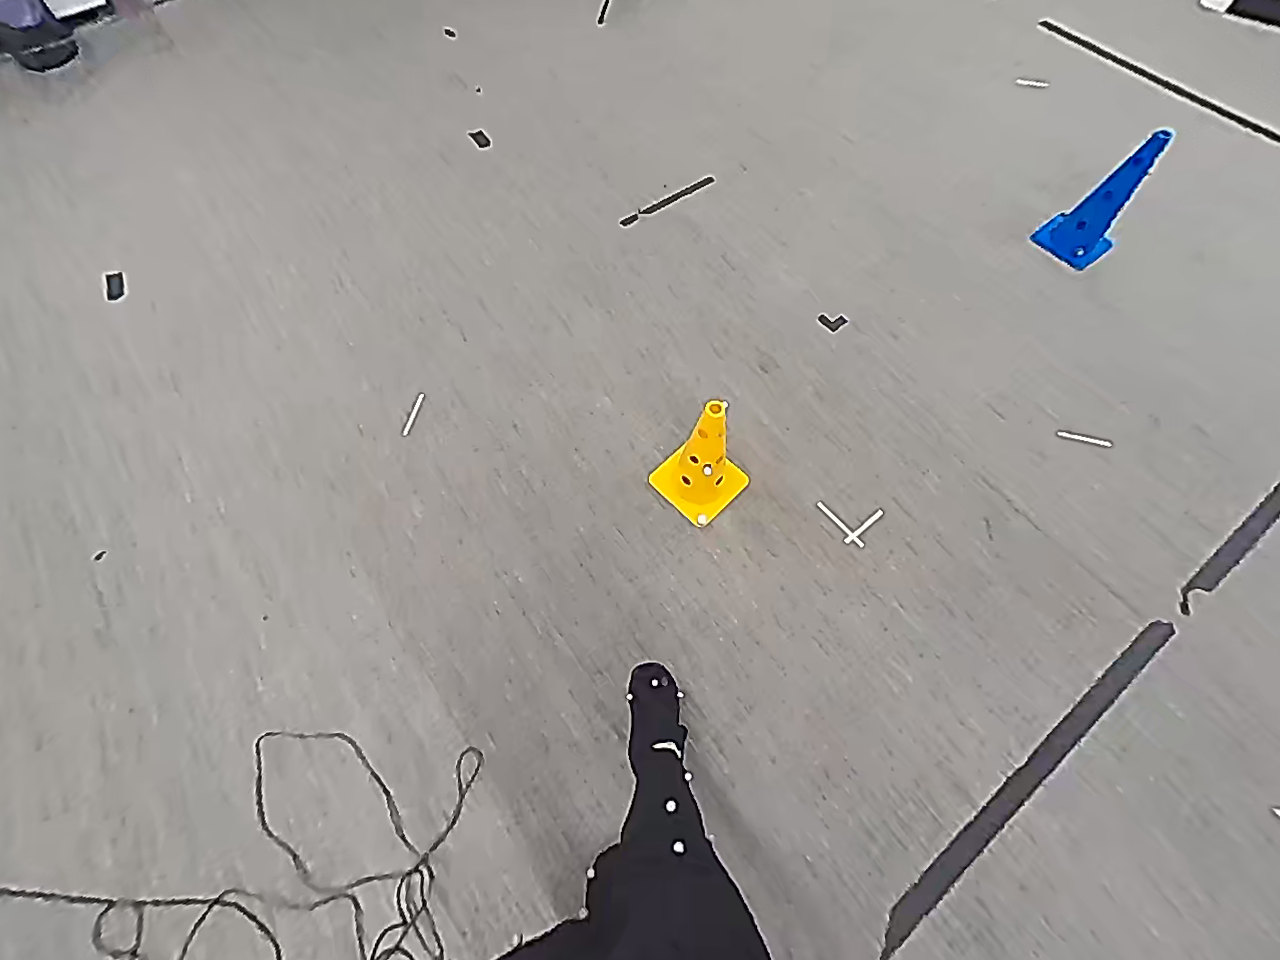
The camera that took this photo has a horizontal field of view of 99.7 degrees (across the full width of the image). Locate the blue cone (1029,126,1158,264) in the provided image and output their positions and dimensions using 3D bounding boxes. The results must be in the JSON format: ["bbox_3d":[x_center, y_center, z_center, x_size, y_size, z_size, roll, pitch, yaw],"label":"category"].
[{"bbox_3d":[1.415,-0.872,1.646,0.193,0.380,0.192,-34,68,-15],"label":"blue cone"}]
